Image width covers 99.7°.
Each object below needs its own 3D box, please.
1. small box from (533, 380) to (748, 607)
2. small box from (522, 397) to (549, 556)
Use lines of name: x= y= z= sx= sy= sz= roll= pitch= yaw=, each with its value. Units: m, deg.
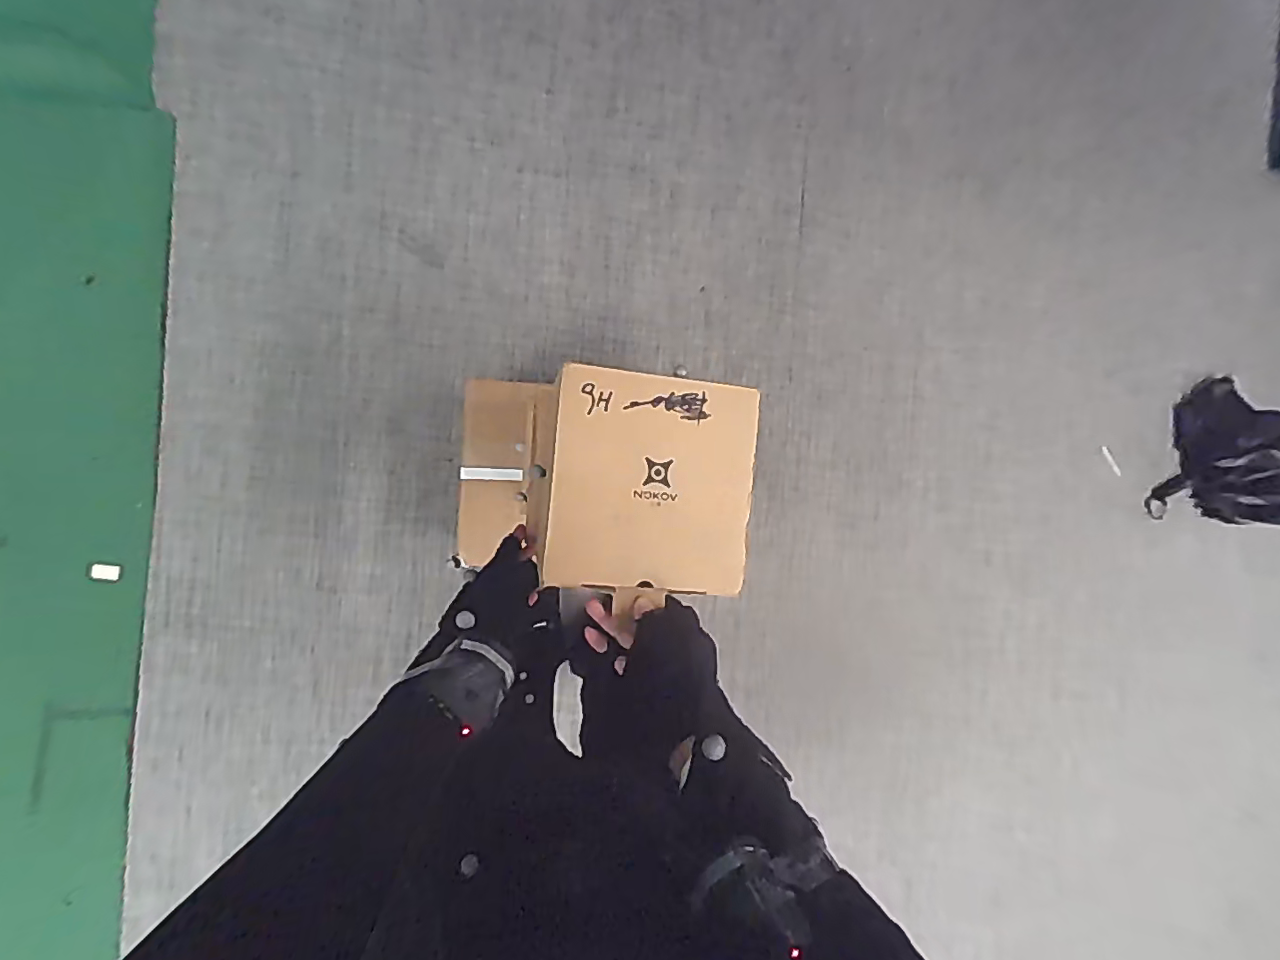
small box: x=-0.012 y=0.011 z=0.518 sx=0.168 sy=0.176 sz=0.179 roll=5 pitch=91 yaw=-12
small box: x=-0.059 y=-0.006 z=0.680 sx=0.168 sy=0.176 sz=0.179 roll=2 pitch=94 yaw=-11
